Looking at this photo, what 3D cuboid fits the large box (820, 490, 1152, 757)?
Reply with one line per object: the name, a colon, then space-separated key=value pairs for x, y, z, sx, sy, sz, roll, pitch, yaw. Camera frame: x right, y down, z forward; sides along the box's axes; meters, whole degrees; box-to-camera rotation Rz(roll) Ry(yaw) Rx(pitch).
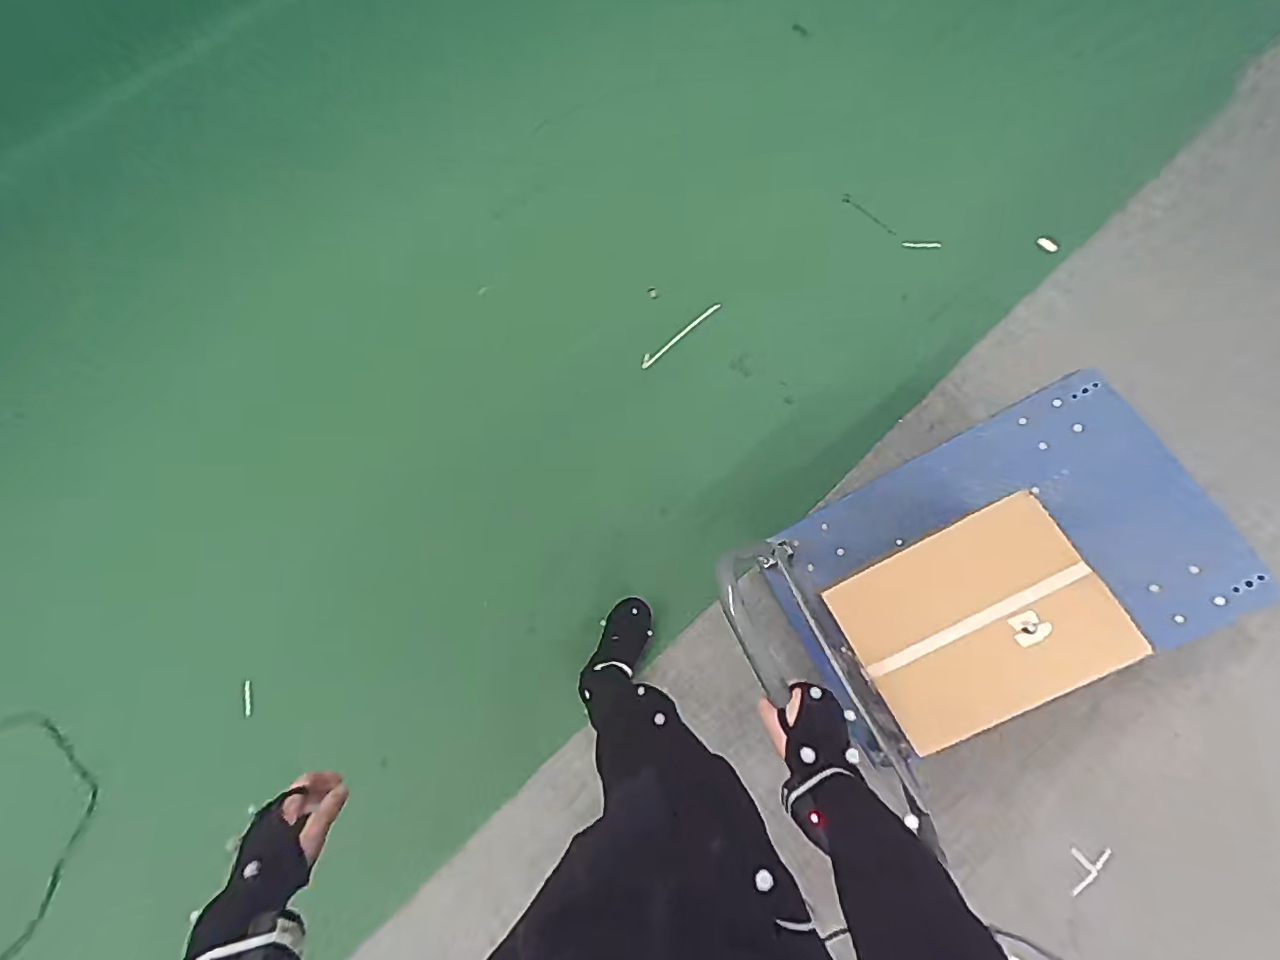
large box: x=0.617 y=0.273 z=1.066 sx=0.408 sy=0.320 sz=0.320 roll=-30 pitch=73 yaw=8
